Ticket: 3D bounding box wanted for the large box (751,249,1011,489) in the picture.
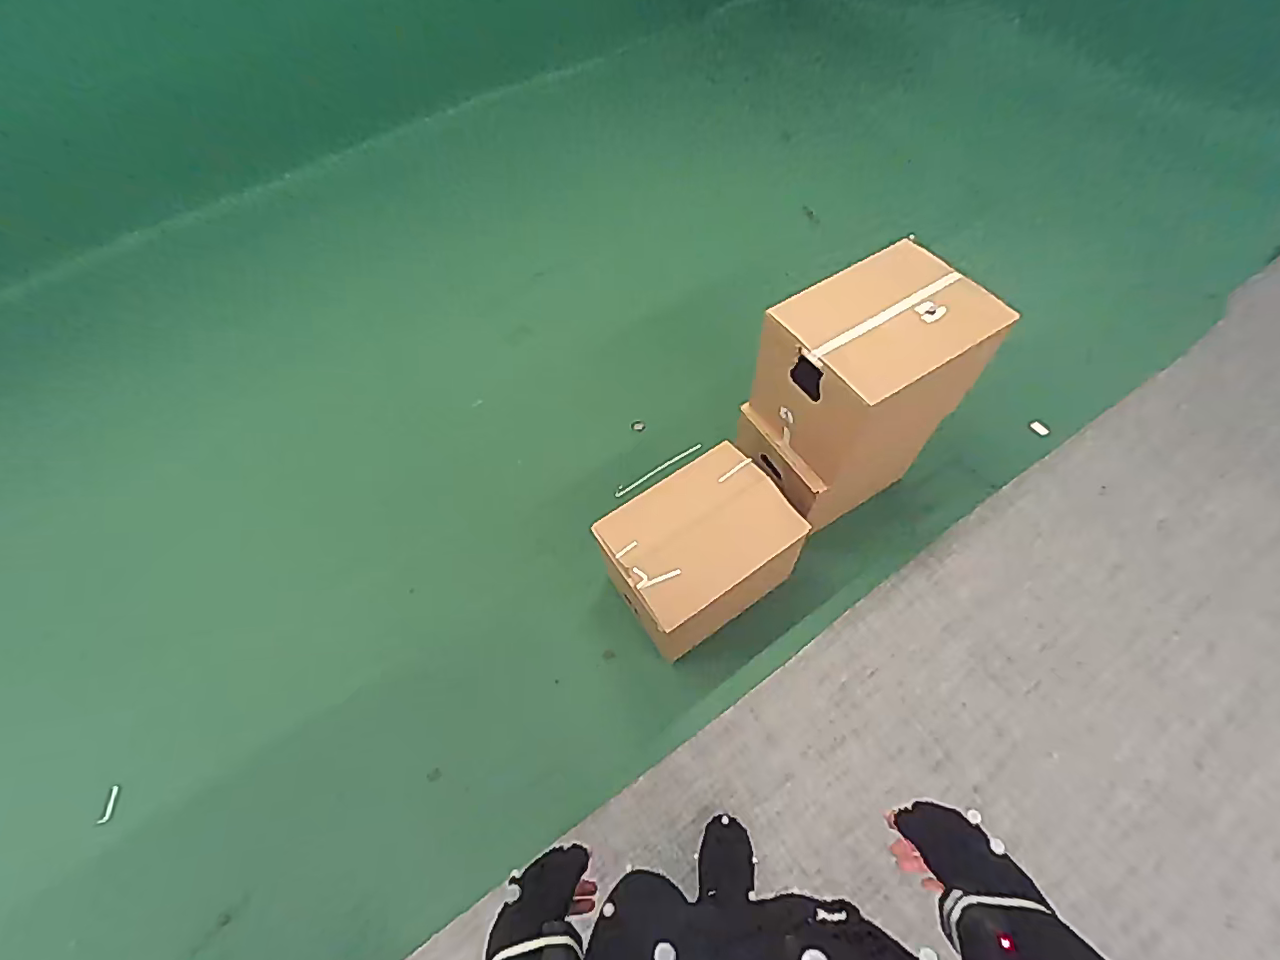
[{"bbox_3d":[0.519,-0.251,1.246,0.408,0.320,0.320,-29,62,-14],"label":"large box"}]
